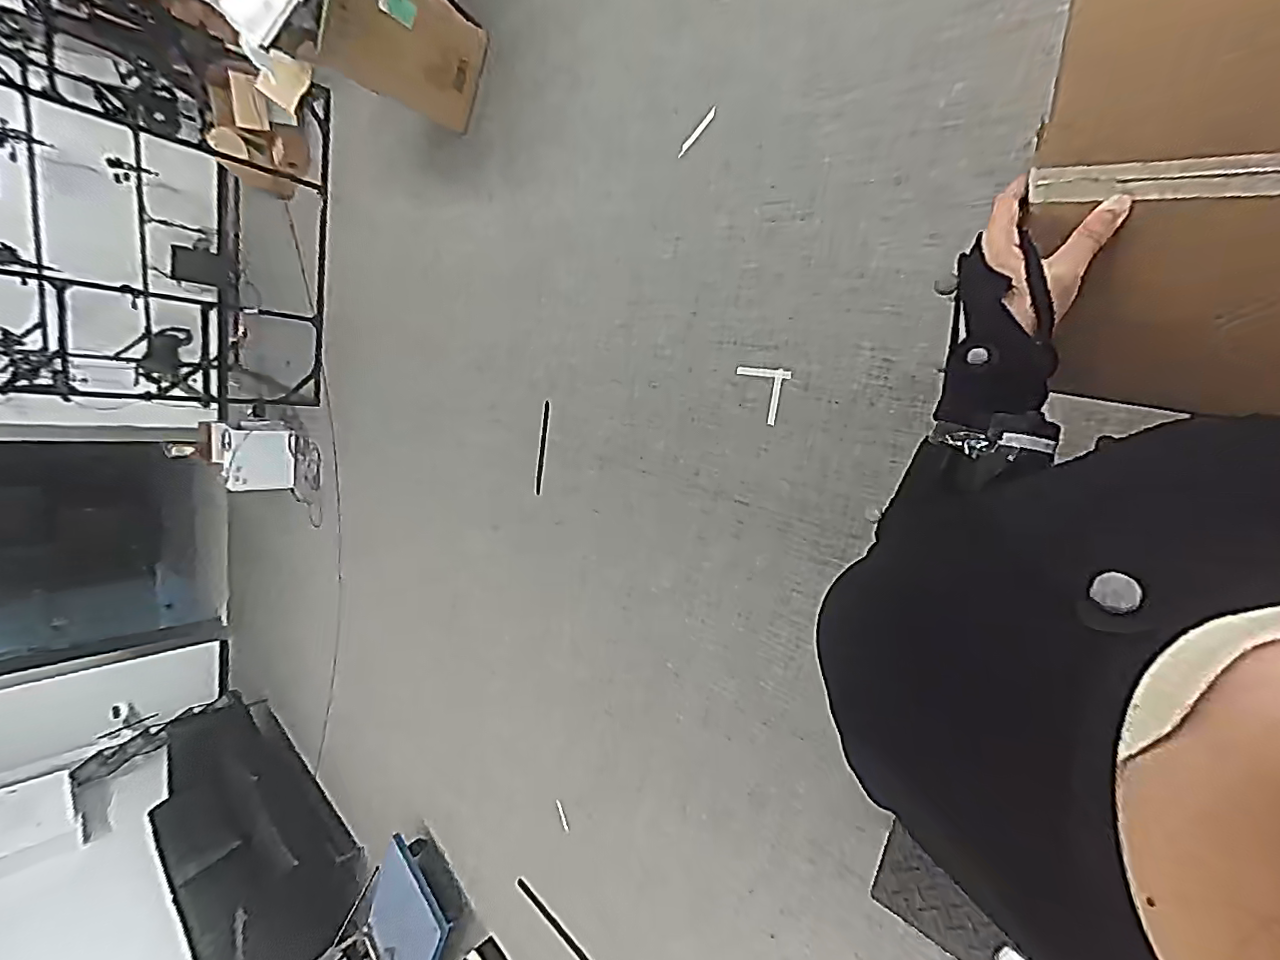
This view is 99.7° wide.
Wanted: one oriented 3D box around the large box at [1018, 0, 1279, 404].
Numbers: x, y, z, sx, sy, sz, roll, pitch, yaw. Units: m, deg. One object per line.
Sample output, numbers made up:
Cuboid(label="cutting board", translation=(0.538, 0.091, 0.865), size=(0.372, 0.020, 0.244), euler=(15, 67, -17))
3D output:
Cuboid(label="large box", translation=(0.517, -0.242, 0.314), size=(0.408, 0.320, 0.320), euler=(21, 142, 40))
